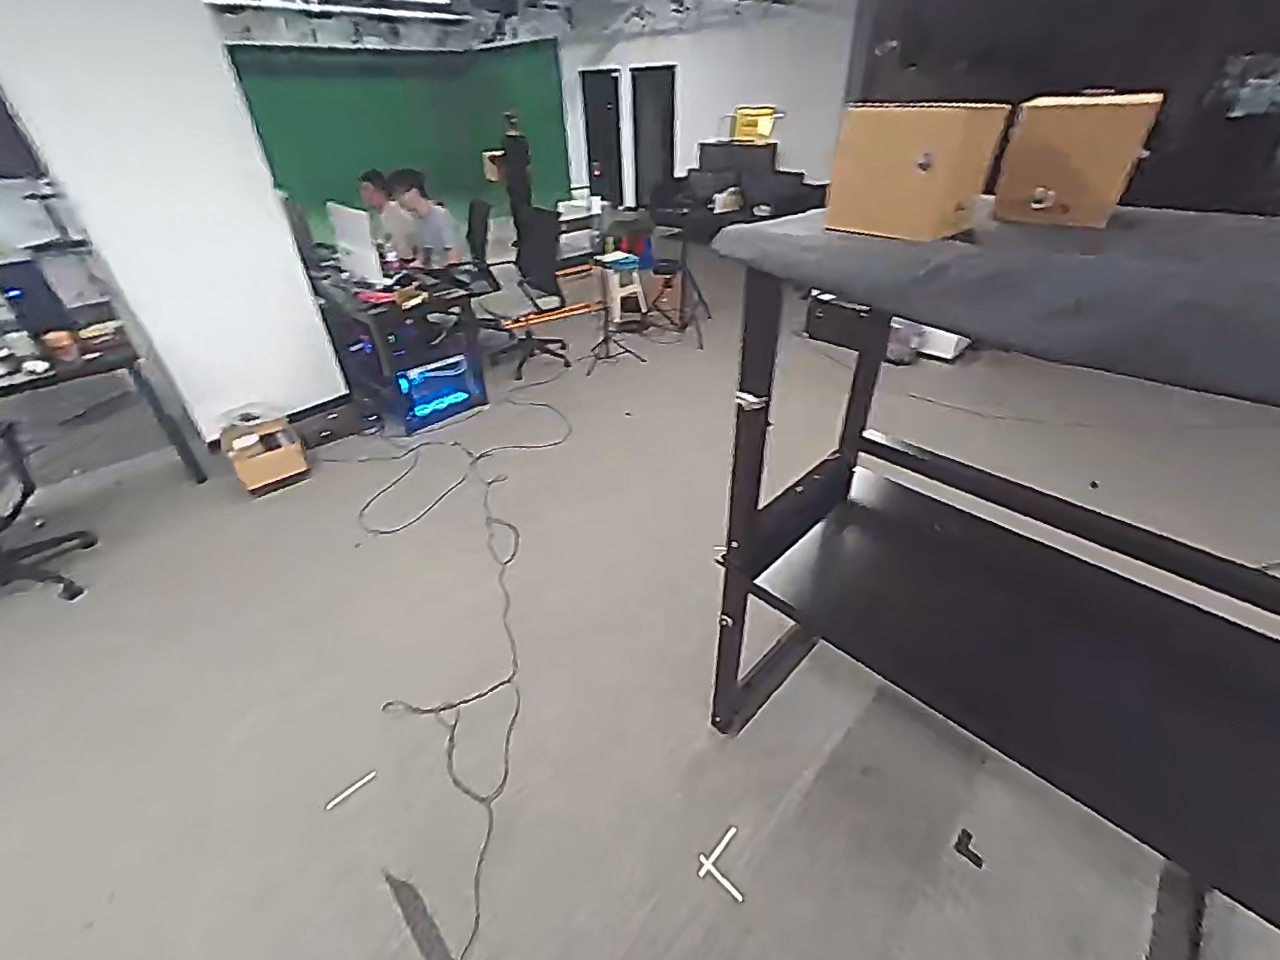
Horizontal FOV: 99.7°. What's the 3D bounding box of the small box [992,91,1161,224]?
[{"bbox_3d":[0.707,-0.531,0.886,0.168,0.176,0.179,23,43,32],"label":"small box"}]
